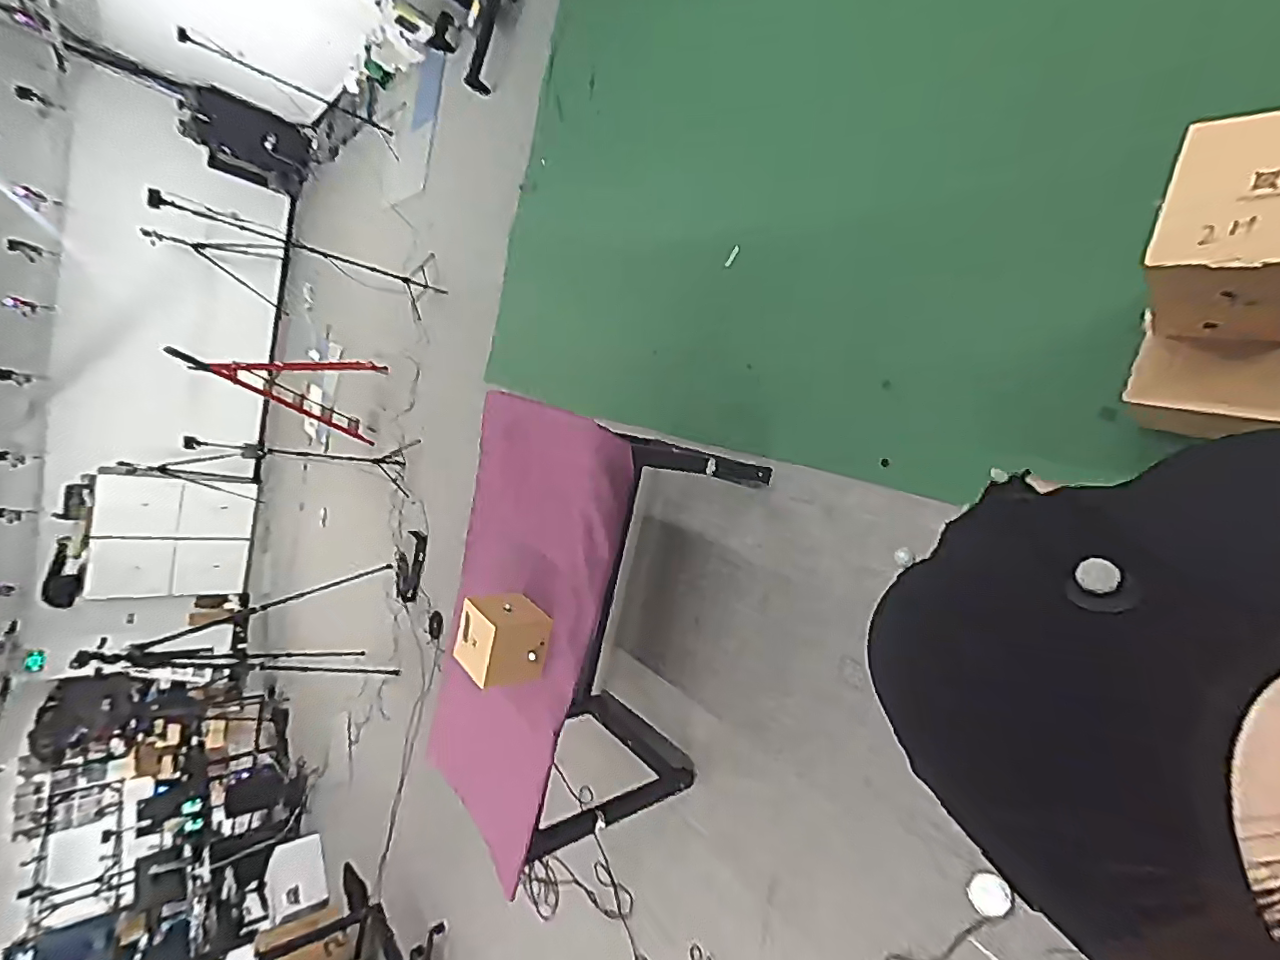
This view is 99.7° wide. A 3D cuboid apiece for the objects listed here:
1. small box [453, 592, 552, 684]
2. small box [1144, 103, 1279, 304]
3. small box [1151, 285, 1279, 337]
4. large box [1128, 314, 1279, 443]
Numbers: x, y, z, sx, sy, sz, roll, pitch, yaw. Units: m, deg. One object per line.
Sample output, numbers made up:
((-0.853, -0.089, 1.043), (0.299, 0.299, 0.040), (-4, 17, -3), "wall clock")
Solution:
((-0.355, 0.397, 1.395), (0.179, 0.176, 0.168), (22, 102, 45), "small box")
((0.762, -0.332, 0.667), (0.168, 0.176, 0.179), (21, 101, 46), "small box")
((0.880, -0.322, 0.783), (0.168, 0.176, 0.179), (22, 102, 45), "small box")
((1.112, -0.226, 0.880), (0.408, 0.320, 0.320), (22, 102, 45), "large box")
